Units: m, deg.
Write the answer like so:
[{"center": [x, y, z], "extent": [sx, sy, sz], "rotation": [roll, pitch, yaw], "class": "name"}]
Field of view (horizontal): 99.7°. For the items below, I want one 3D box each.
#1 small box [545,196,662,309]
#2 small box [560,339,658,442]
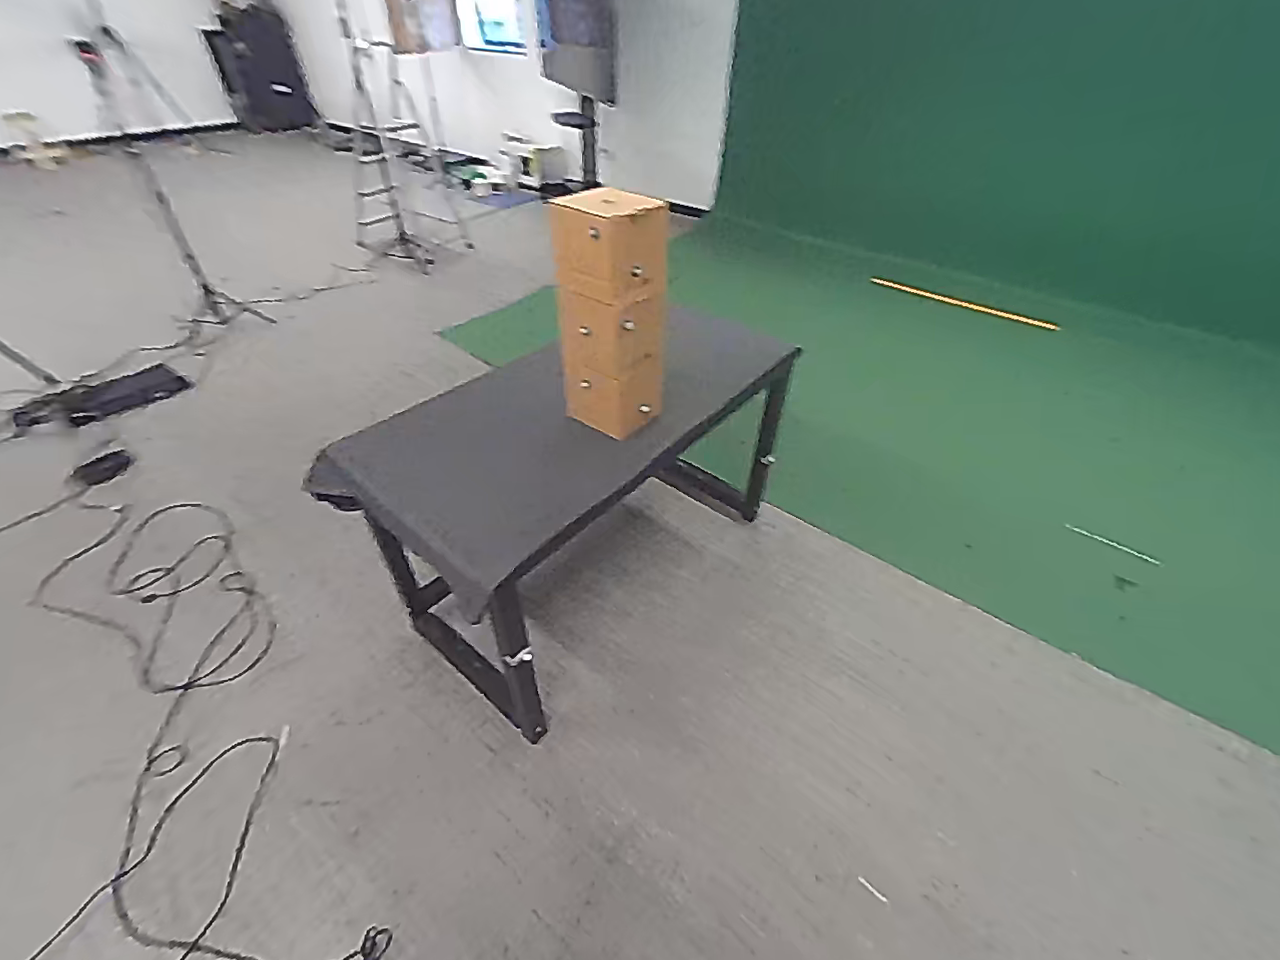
[{"center": [-0.074, -0.471, 1.119], "extent": [0.179, 0.176, 0.168], "rotation": [30, 48, 29], "class": "small box"}, {"center": [-0.075, -0.219, 1.326], "extent": [0.179, 0.176, 0.168], "rotation": [28, 48, 27], "class": "small box"}]
